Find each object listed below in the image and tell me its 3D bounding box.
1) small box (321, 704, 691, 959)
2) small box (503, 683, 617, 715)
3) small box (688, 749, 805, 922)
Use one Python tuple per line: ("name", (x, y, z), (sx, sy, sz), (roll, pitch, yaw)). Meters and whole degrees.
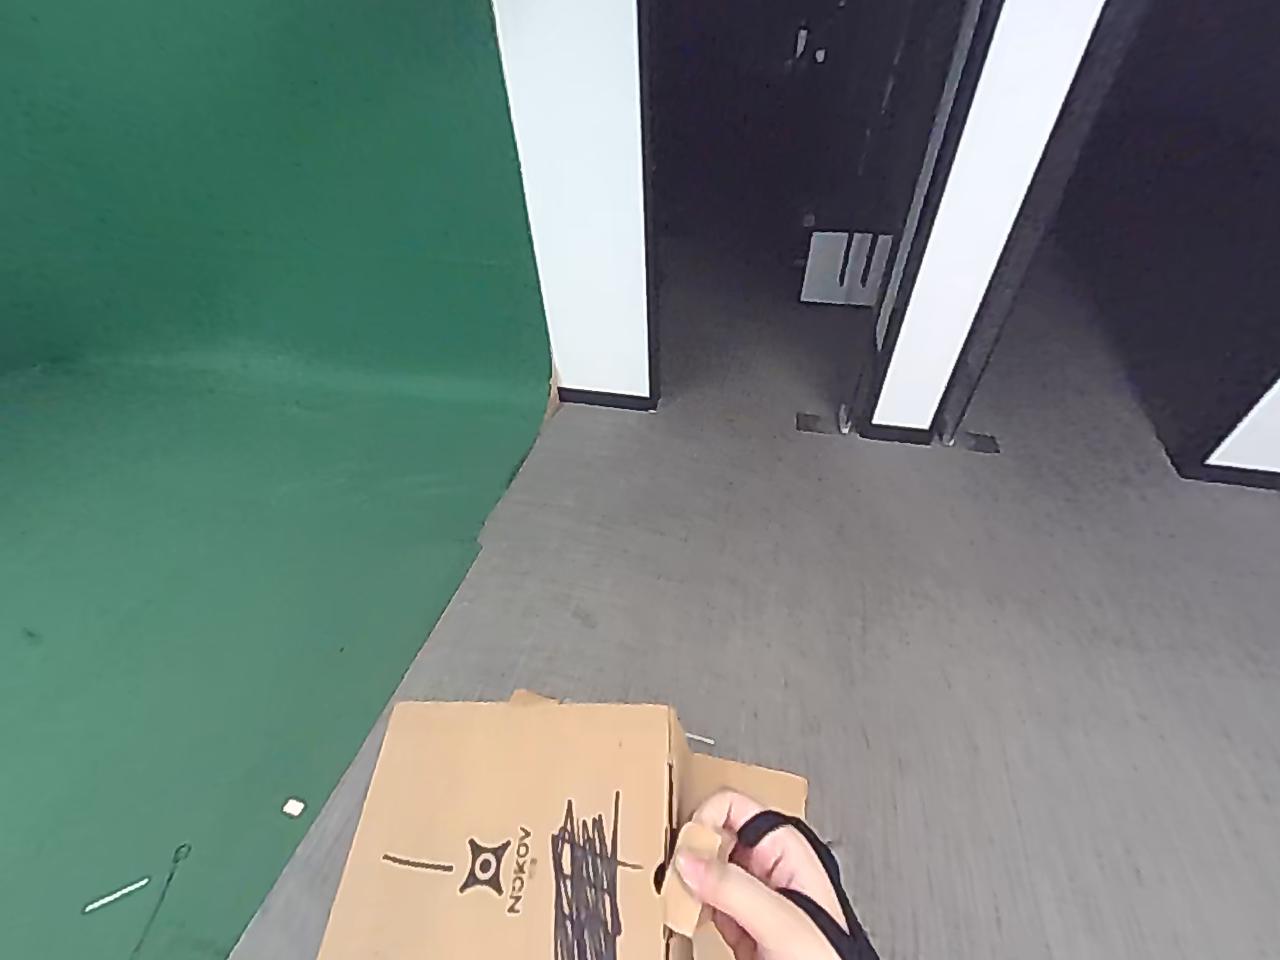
("small box", (-0.059, 0.250, 0.340), (0.179, 0.176, 0.168), (-2, 53, 9))
("small box", (-0.122, 0.417, 0.742), (0.168, 0.176, 0.179), (12, 45, 13))
("small box", (0.149, 0.548, 0.831), (0.179, 0.176, 0.168), (7, 43, 13))
